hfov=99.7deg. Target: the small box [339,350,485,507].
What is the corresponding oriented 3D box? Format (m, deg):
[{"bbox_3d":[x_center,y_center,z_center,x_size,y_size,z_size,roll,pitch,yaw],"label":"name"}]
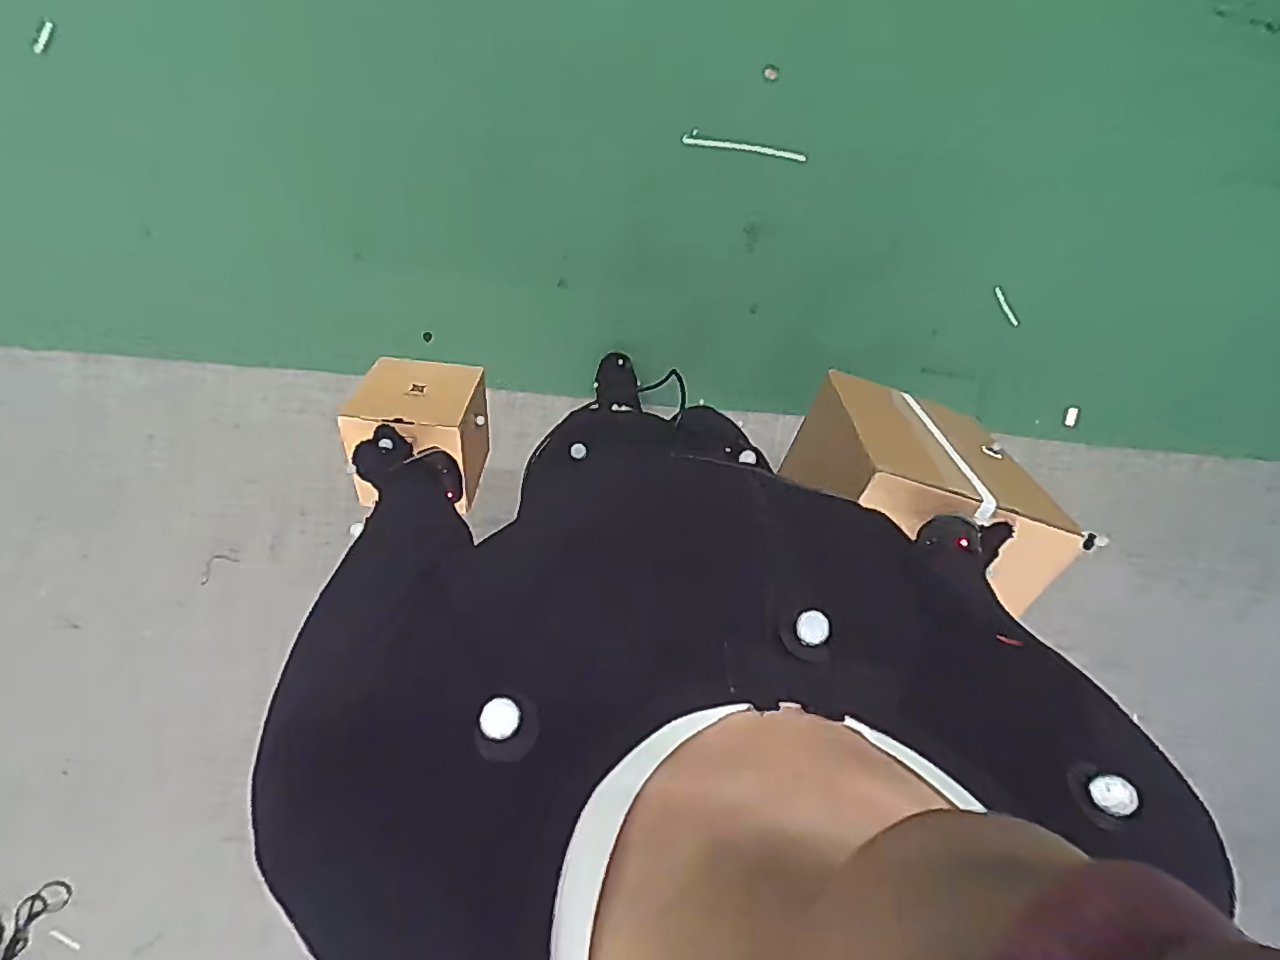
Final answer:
[{"bbox_3d":[-0.345,-0.082,0.859,0.168,0.179,0.176,5,131,-6],"label":"small box"}]
